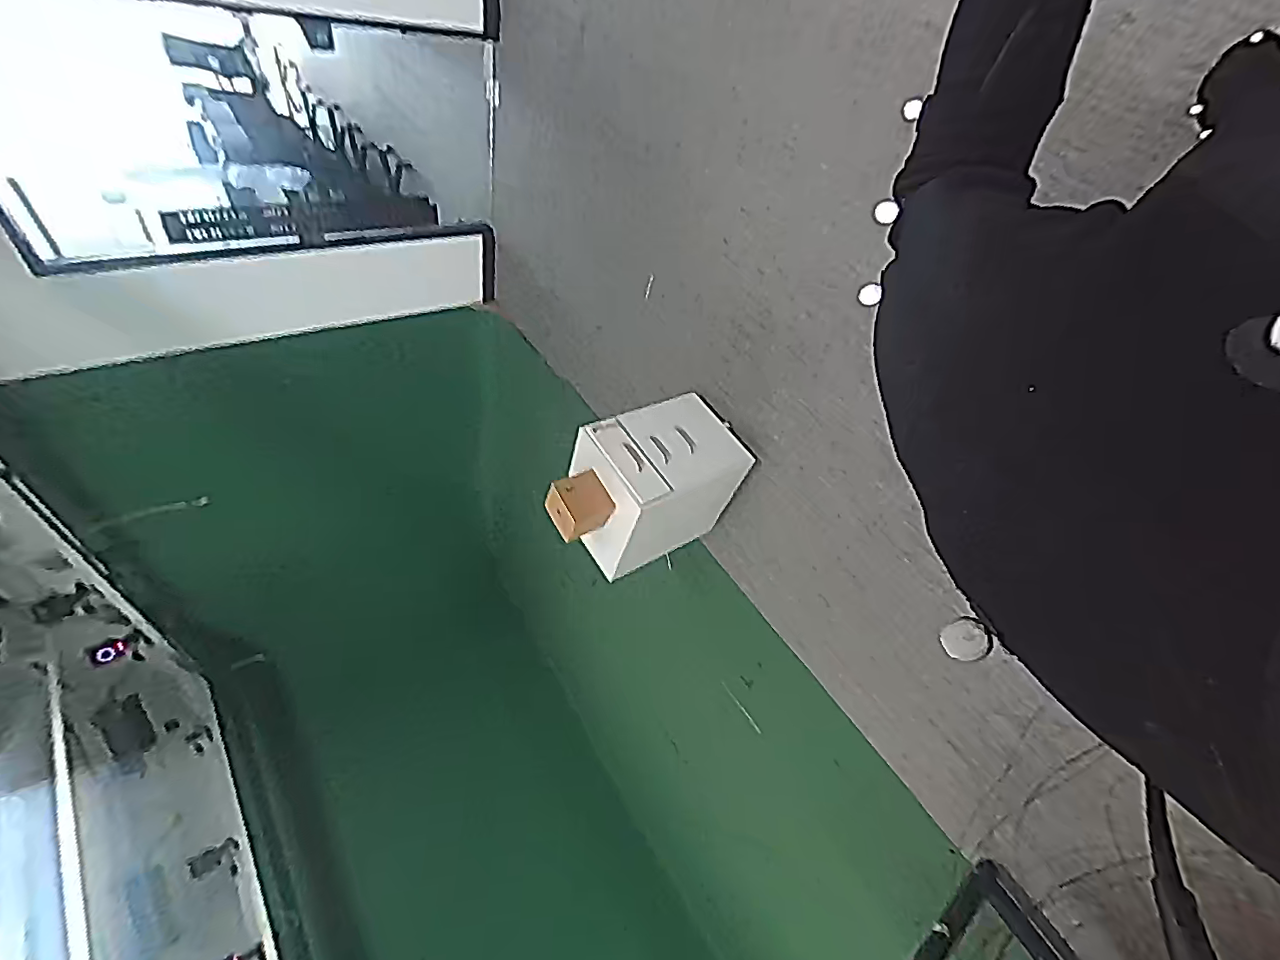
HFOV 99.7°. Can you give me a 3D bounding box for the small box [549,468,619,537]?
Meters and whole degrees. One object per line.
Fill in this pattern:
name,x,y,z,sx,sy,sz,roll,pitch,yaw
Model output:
small box,-0.205,0.073,1.950,0.179,0.176,0.168,57,148,17
